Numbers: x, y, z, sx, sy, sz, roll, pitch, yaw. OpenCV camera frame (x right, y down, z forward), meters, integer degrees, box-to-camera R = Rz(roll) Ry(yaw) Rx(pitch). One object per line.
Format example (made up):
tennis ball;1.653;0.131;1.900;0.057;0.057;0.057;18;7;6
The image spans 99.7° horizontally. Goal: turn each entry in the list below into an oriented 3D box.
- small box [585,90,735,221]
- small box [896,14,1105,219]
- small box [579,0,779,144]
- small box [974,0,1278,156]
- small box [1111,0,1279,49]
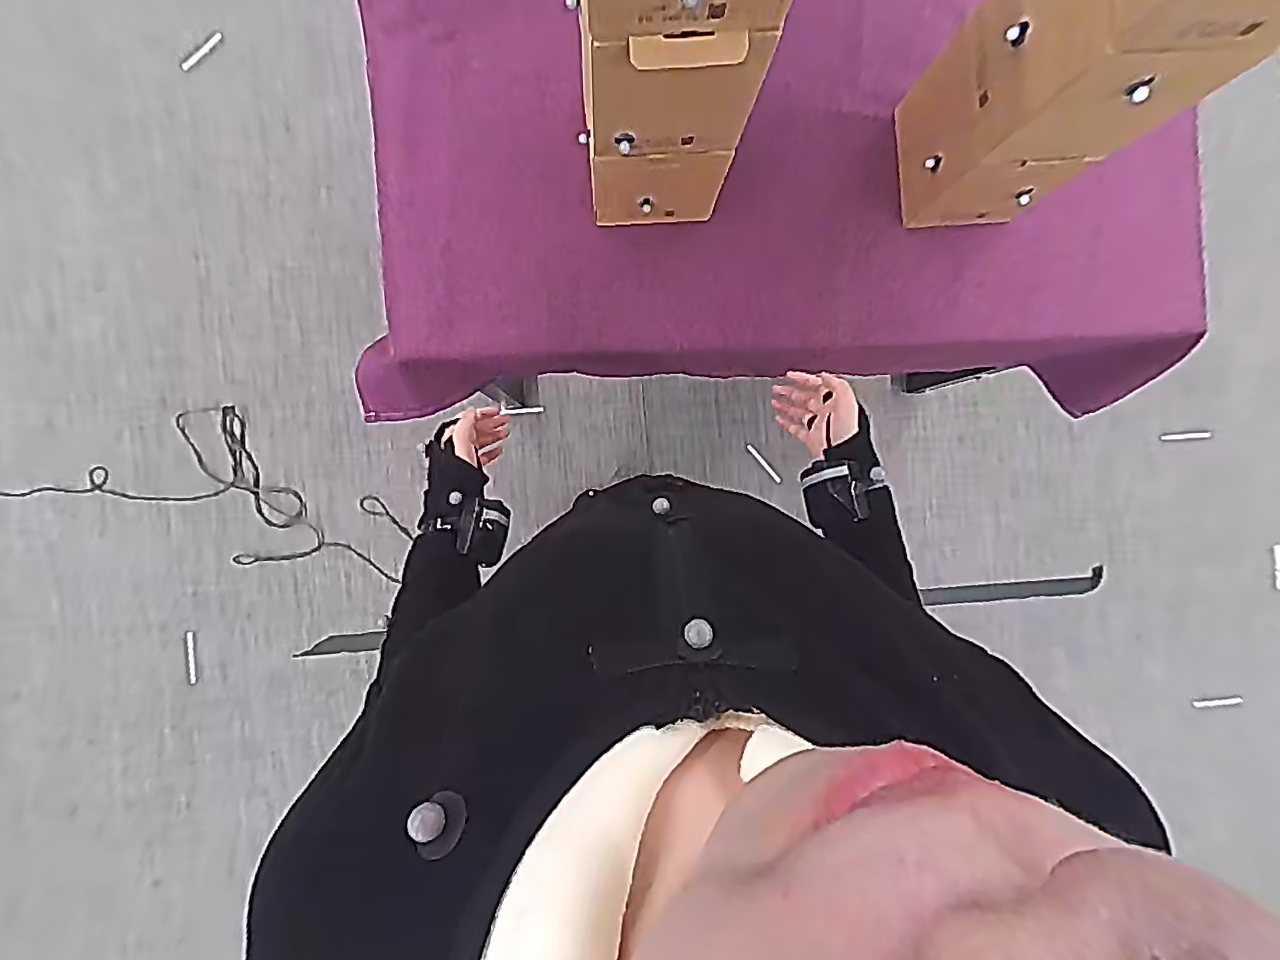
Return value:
small box;0.016;-0.460;0.694;0.168;0.176;0.179;-5;92;-4
small box;0.465;-0.467;0.721;0.168;0.176;0.179;-4;90;-4
small box;0.026;-0.459;0.530;0.168;0.176;0.179;-6;91;-4
small box;0.474;-0.462;0.557;0.179;0.176;0.168;-5;92;-4
small box;0.489;-0.466;0.393;0.168;0.176;0.179;-4;91;-4
